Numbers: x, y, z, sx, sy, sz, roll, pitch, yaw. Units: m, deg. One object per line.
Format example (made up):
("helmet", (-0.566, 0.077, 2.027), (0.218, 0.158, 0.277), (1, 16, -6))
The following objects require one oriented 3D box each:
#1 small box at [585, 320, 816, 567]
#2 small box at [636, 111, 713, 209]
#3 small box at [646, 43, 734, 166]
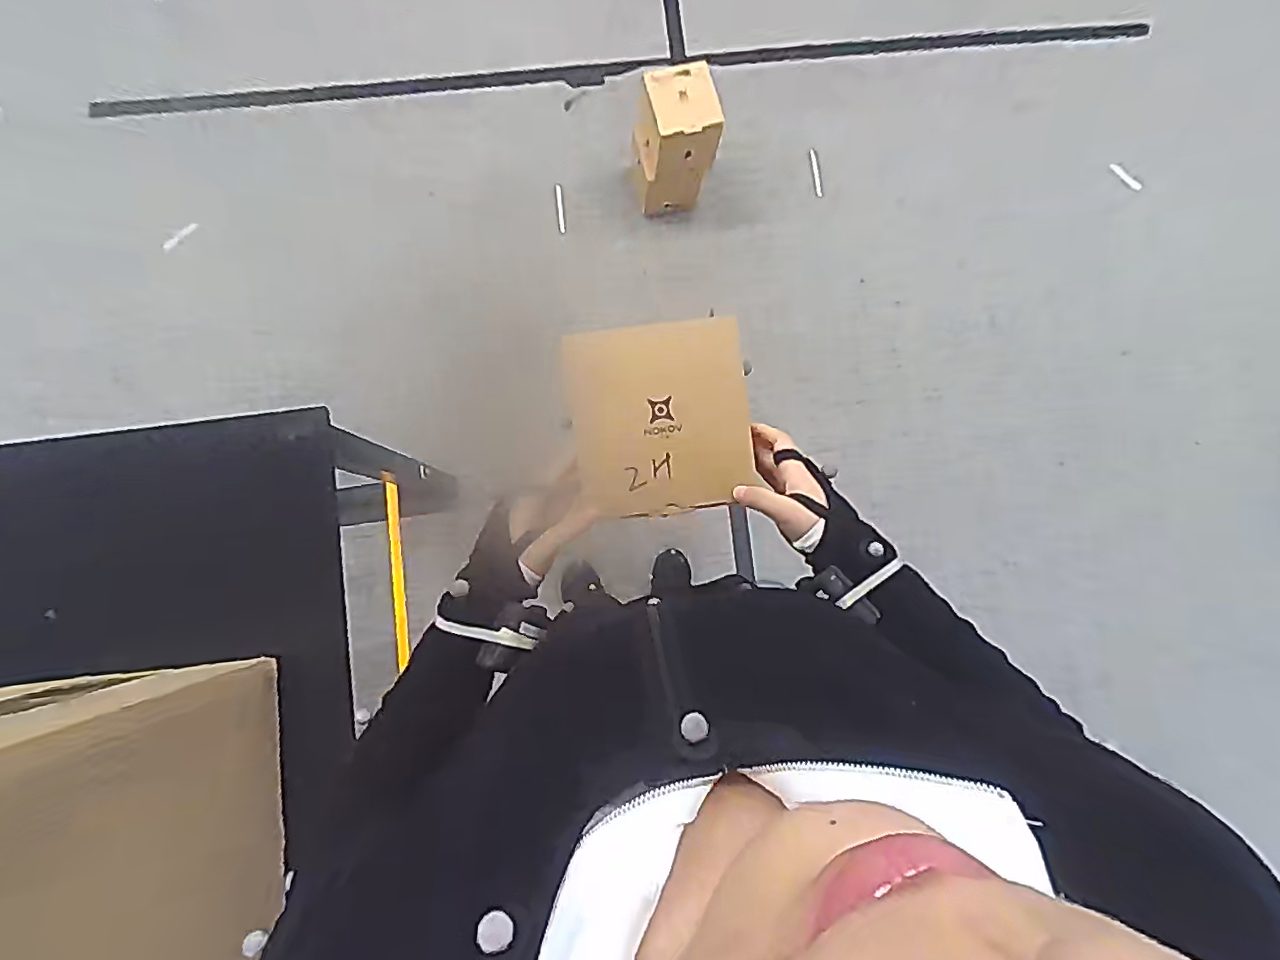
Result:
("small box", (0.044, -0.031, 0.496), (0.168, 0.176, 0.179), (-8, 94, -1))
("small box", (0.088, -0.880, 1.479), (0.168, 0.176, 0.179), (-14, 86, -4))
("small box", (0.114, -0.900, 1.317), (0.168, 0.176, 0.179), (-15, 85, -4))
